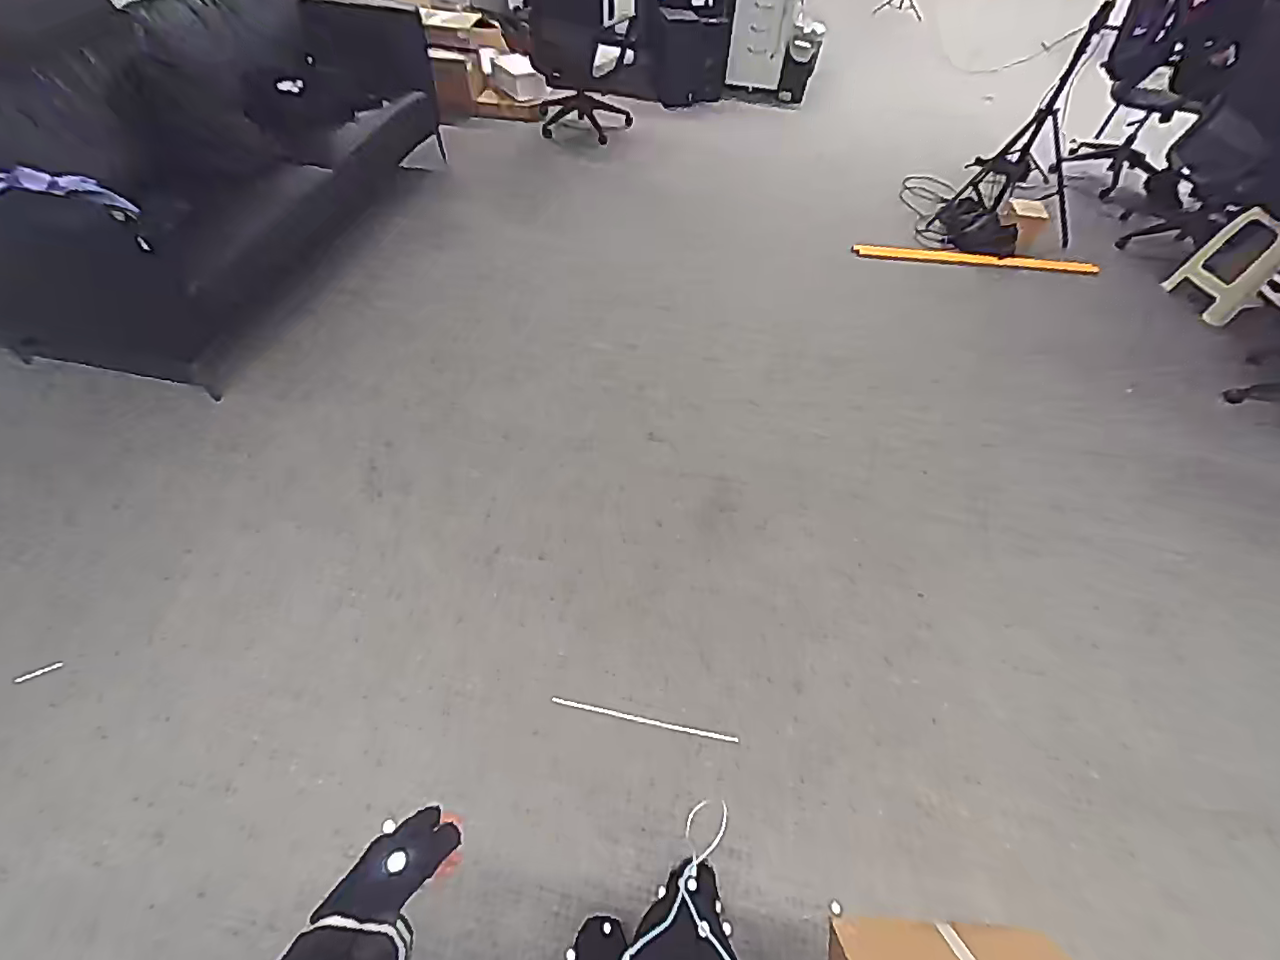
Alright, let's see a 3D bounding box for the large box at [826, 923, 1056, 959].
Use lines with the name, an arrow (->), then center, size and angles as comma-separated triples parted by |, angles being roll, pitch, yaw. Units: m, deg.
large box -> 0.412, 0.790, 0.574 | 0.320, 0.408, 0.320 | 5, 88, 0
